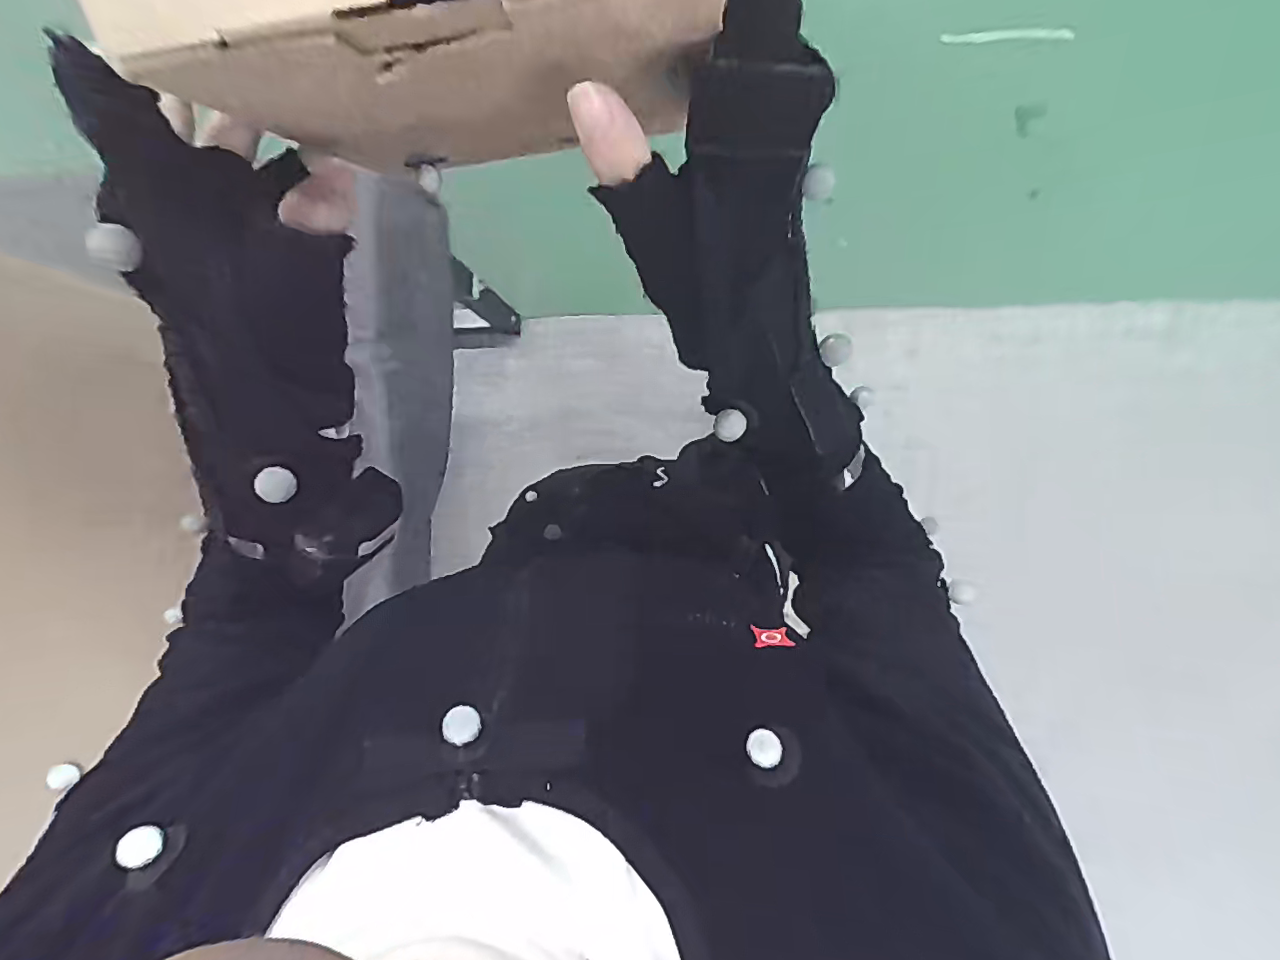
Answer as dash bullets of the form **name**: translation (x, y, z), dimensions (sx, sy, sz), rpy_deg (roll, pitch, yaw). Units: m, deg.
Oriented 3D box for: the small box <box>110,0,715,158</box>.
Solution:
- **small box**: translation (-0.062, -0.226, 0.184), dimensions (0.168, 0.176, 0.179), rpy_deg (-6, 110, 4)
